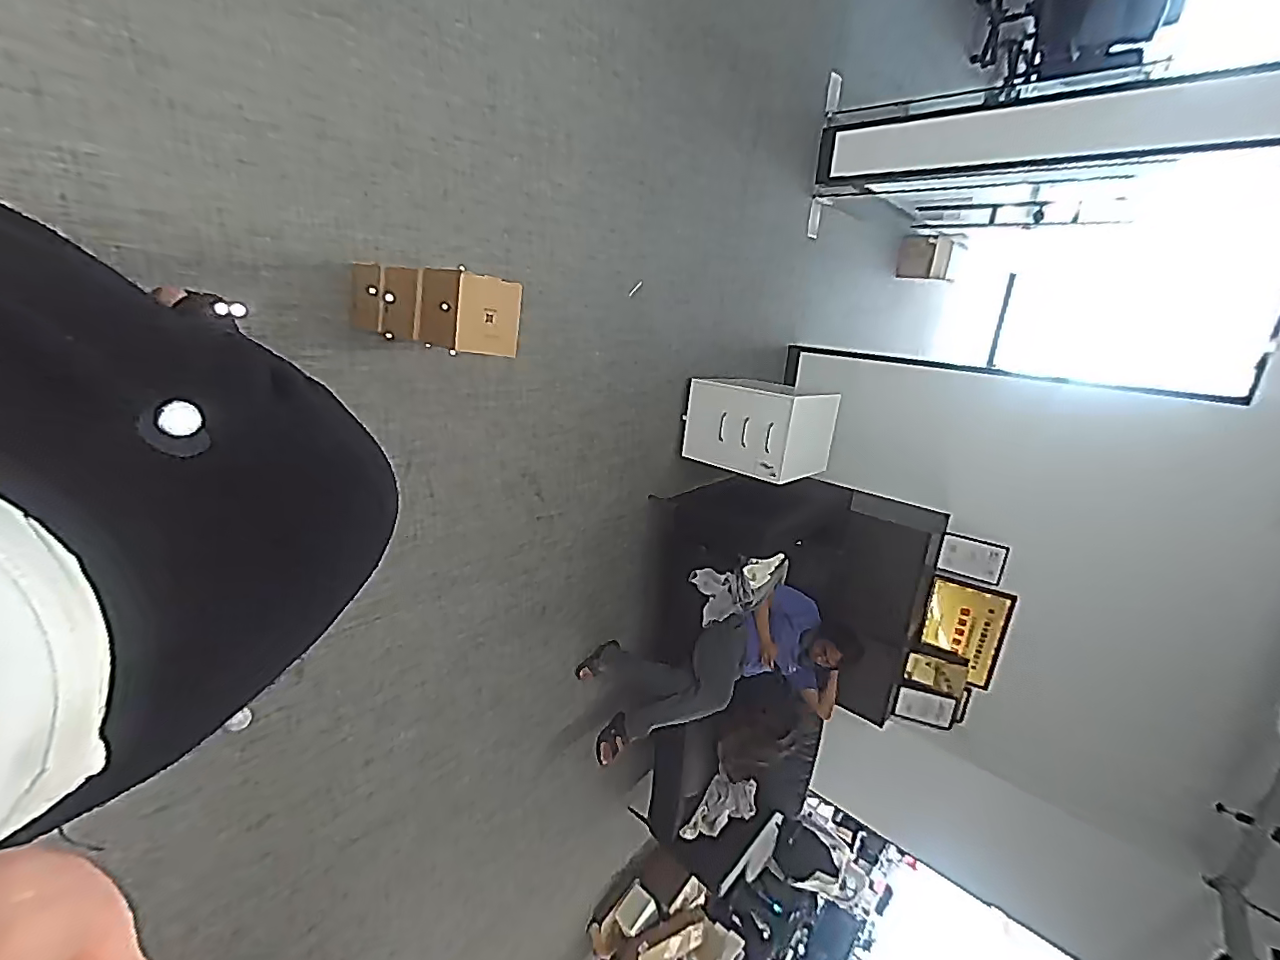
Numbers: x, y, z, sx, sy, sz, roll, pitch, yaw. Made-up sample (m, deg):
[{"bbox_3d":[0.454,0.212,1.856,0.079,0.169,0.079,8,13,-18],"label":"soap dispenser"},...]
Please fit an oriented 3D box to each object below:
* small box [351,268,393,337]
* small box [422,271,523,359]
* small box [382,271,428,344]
[{"bbox_3d":[-0.659,-0.476,1.473,0.179,0.176,0.168,-7,111,-50],"label":"small box"},{"bbox_3d":[-0.402,-0.393,1.290,0.168,0.176,0.179,-7,112,-48],"label":"small box"},{"bbox_3d":[-0.530,-0.432,1.381,0.179,0.176,0.168,-5,109,-50],"label":"small box"}]
